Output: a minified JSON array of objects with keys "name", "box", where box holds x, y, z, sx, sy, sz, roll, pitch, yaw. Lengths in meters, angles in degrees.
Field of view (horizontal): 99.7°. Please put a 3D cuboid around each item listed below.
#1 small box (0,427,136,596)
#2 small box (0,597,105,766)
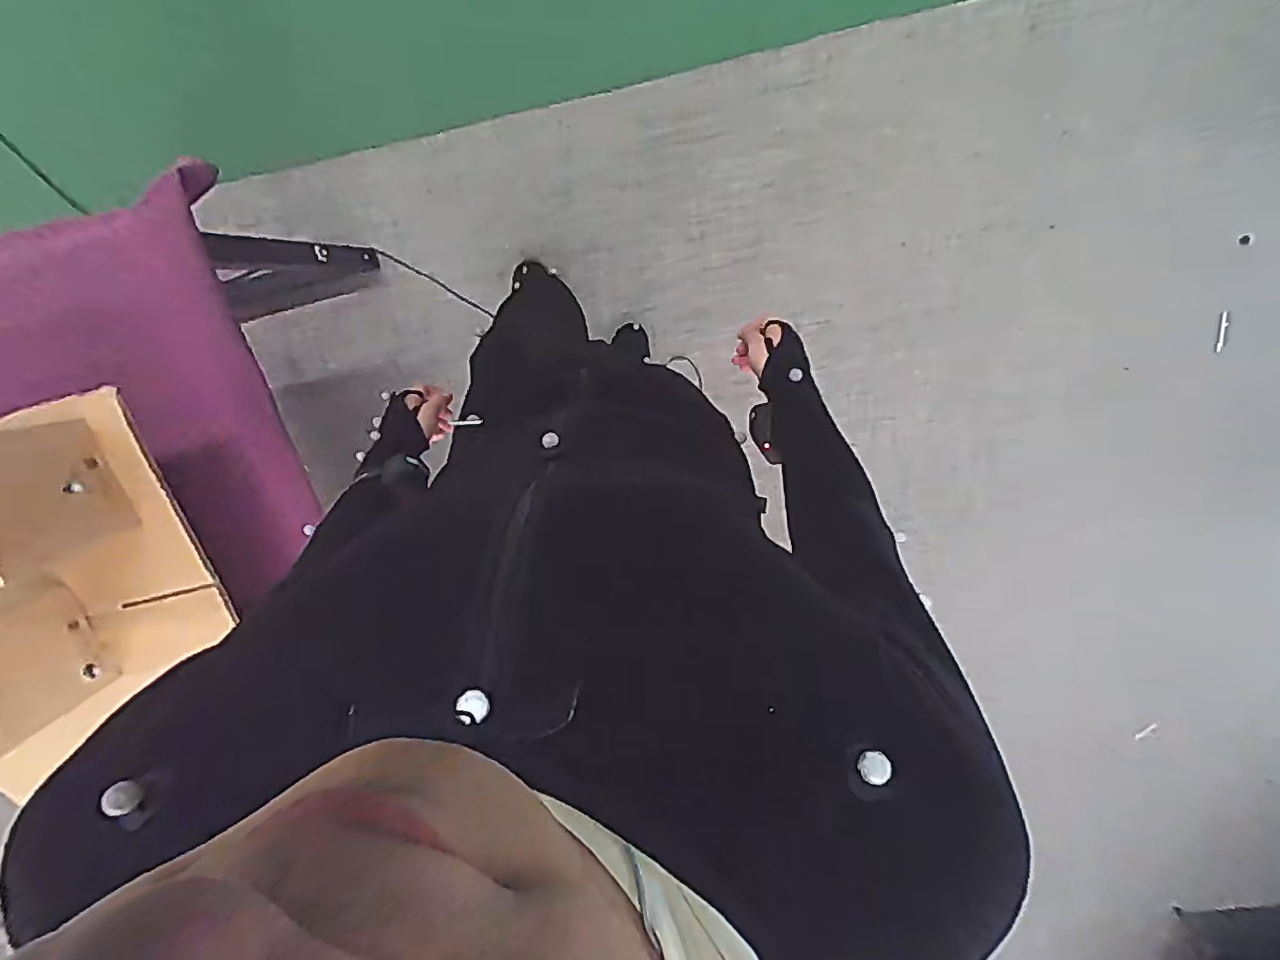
[{"name":"small box","box":[-0.795,0.044,0.659,0.179,0.176,0.168,-13,107,6]},{"name":"small box","box":[-0.895,0.279,0.733,0.179,0.176,0.168,-14,105,7]}]
